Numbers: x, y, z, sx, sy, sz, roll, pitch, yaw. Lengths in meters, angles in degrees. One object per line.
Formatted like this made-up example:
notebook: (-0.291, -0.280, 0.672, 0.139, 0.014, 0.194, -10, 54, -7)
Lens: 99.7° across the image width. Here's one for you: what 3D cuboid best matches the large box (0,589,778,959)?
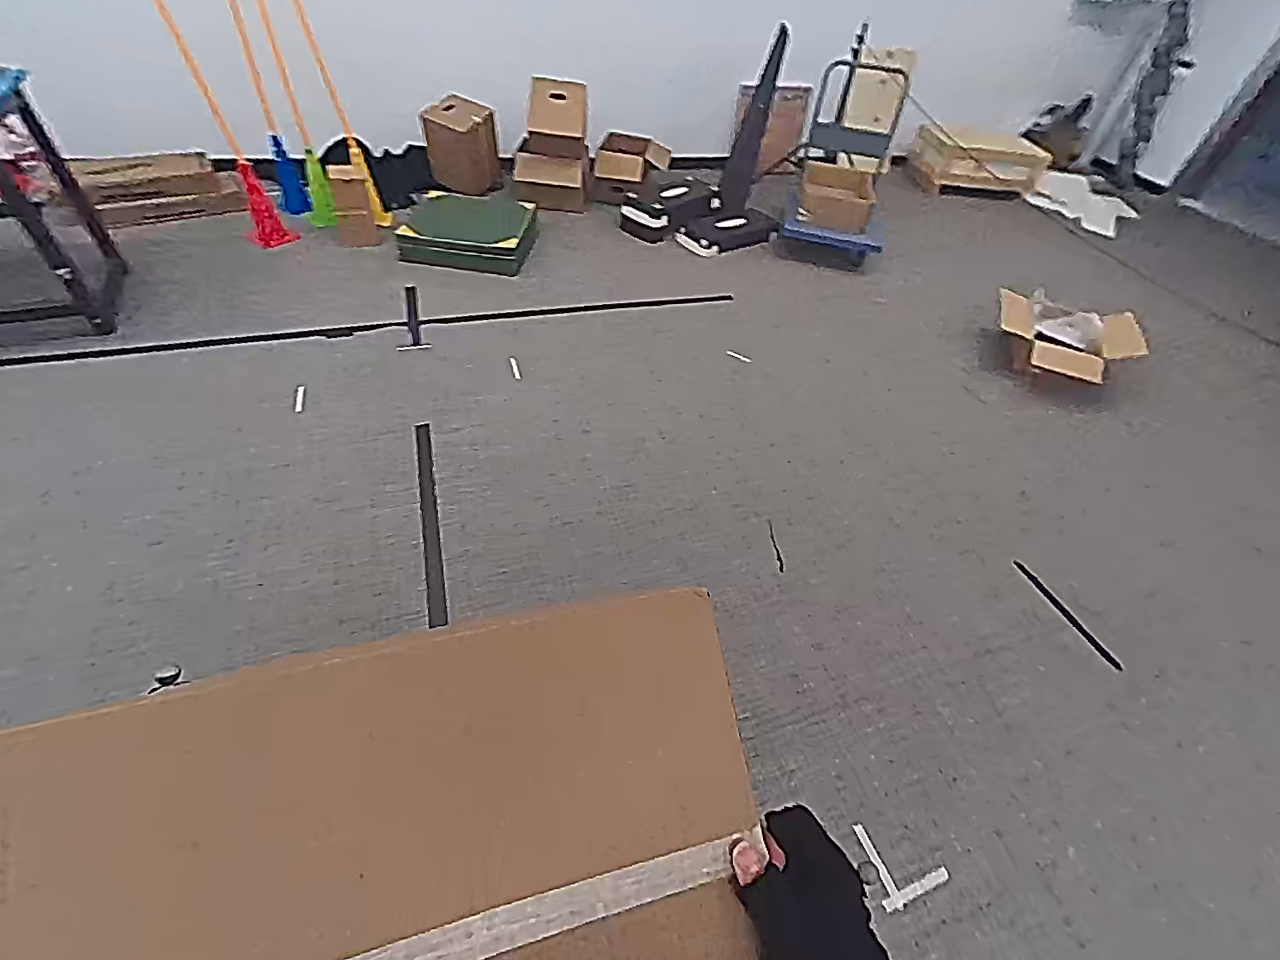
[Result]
large box: (-0.149, 0.285, 0.437, 0.408, 0.320, 0.320, -9, 80, -13)
